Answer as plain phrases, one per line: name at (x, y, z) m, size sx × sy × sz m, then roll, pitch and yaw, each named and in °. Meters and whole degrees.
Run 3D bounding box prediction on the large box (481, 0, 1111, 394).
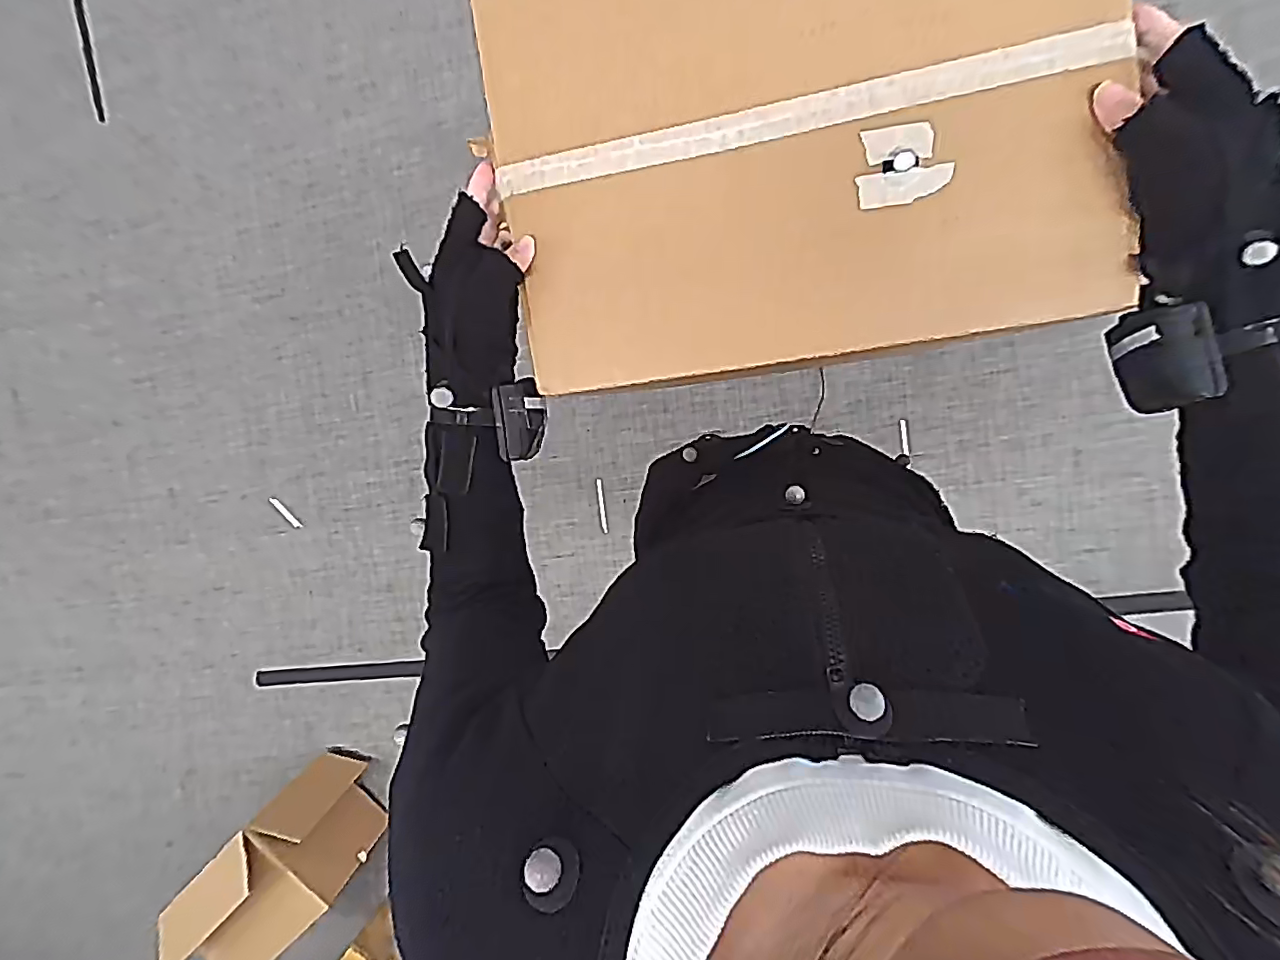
large box at (0.118, -0.267, 0.519) m, size 0.408 × 0.320 × 0.320 m, roll -7°, pitch 99°, yaw 9°
